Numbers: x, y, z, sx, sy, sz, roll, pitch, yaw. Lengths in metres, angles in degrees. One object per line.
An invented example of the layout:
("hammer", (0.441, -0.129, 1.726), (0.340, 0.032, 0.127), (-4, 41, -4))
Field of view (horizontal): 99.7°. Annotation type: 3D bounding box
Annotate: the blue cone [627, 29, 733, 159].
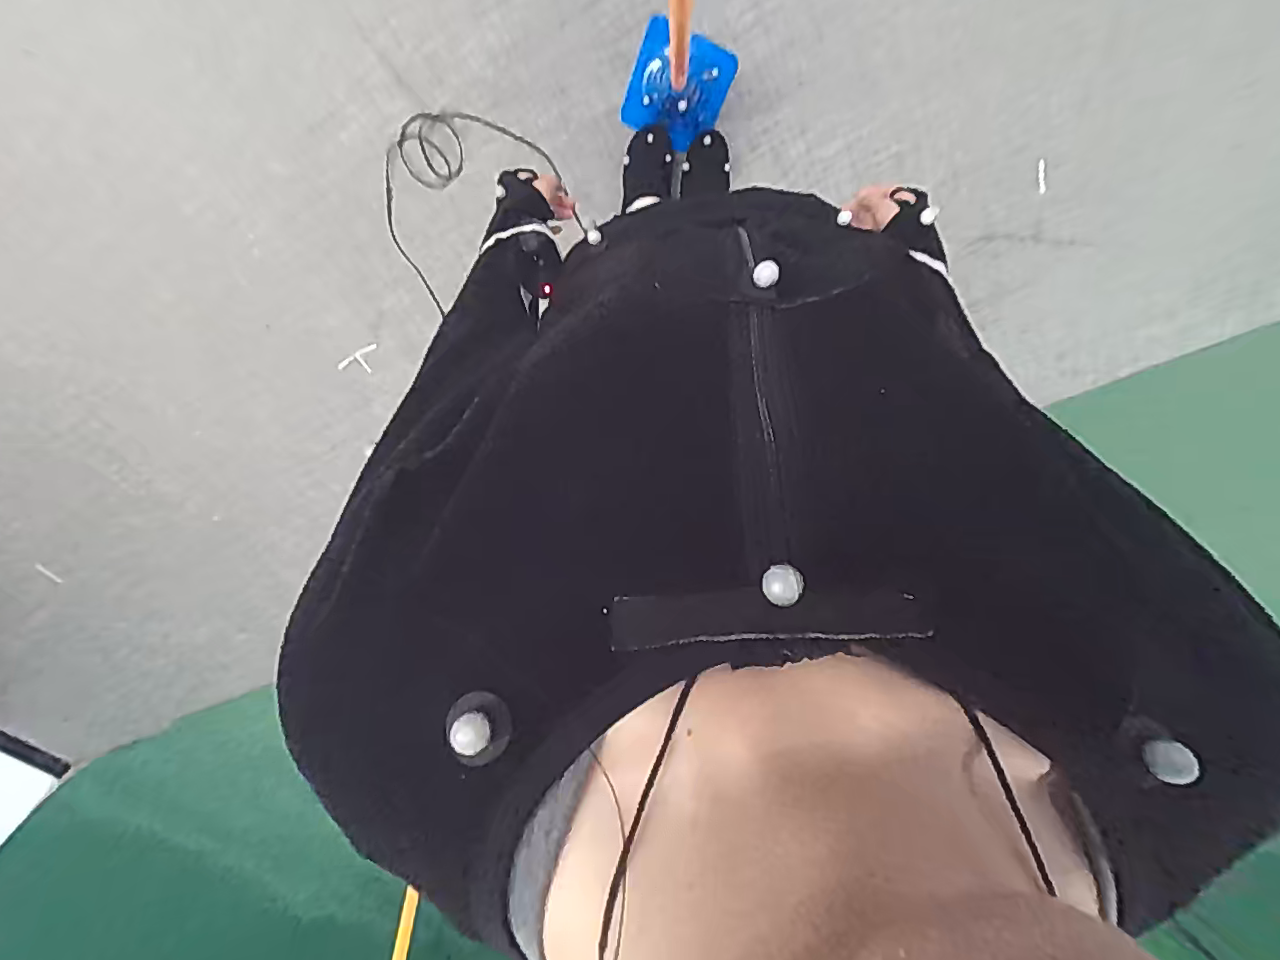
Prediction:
("blue cone", (0.074, -0.709, 0.986), (0.192, 0.380, 0.193), (19, 122, -10))
